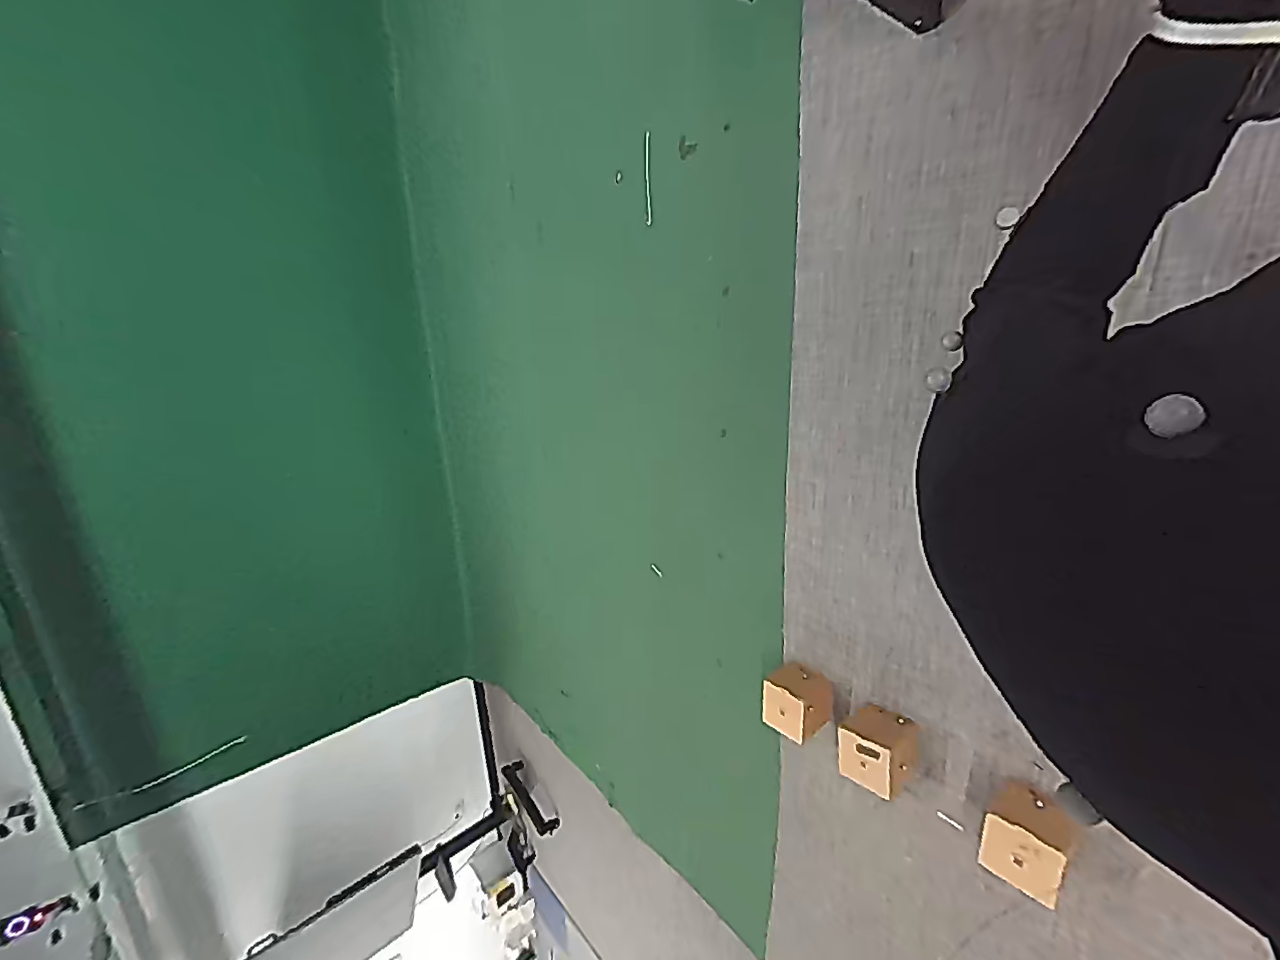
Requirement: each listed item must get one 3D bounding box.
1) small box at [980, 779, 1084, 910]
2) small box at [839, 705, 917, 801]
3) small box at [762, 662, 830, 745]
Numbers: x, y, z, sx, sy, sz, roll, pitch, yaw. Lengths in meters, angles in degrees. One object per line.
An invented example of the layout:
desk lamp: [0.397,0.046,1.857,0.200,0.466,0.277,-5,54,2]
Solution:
small box: [0.991,0.911,1.367,0.168,0.176,0.179,16,113,47]
small box: [0.733,0.828,1.664,0.168,0.176,0.179,10,110,50]
small box: [0.545,0.770,1.881,0.168,0.176,0.179,15,113,47]
